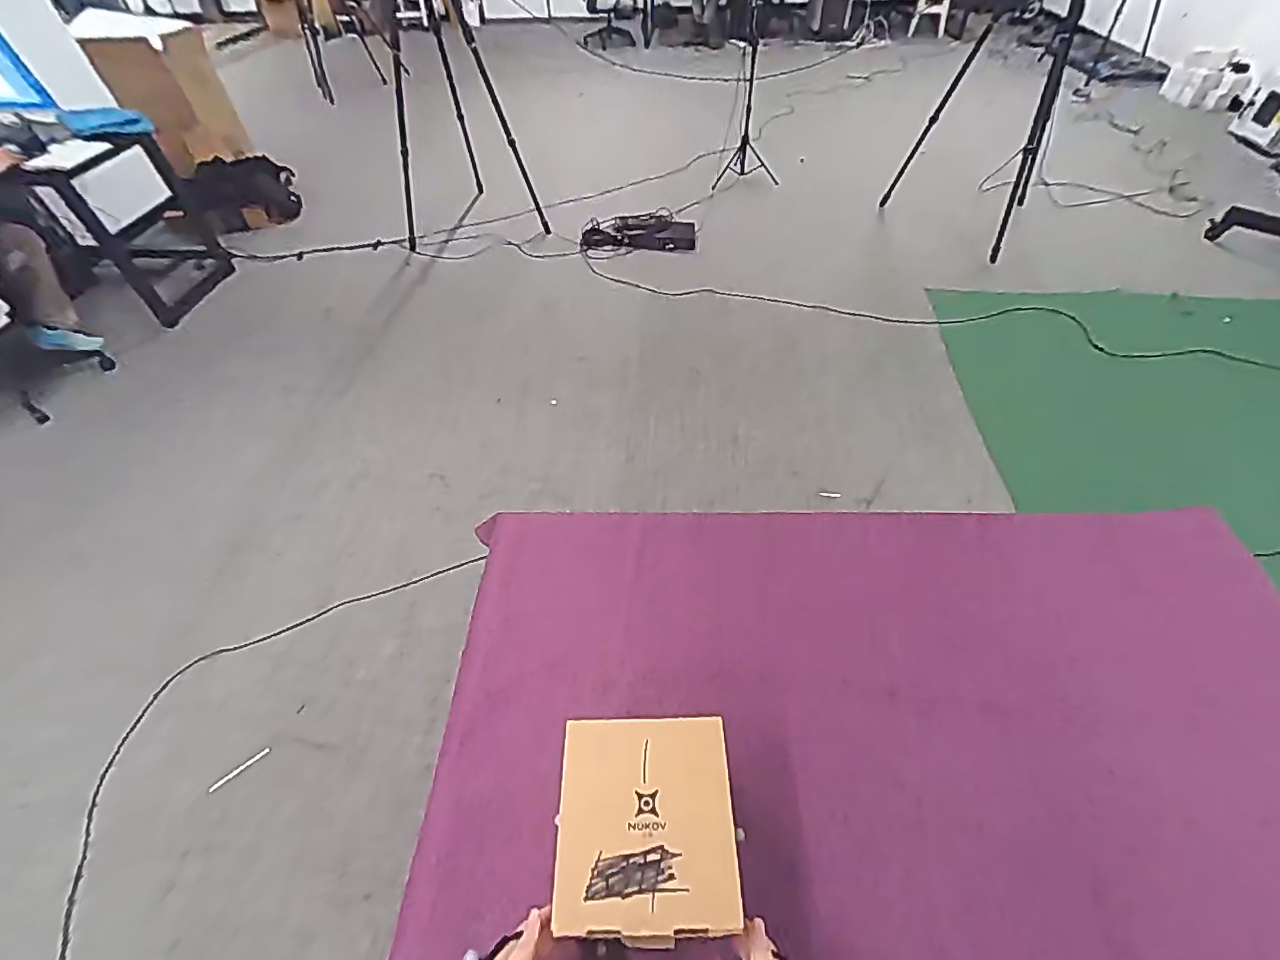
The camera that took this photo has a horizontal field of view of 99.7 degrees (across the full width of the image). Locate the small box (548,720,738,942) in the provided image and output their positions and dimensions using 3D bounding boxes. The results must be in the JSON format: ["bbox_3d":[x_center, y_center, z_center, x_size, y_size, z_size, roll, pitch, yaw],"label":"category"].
[{"bbox_3d":[0.006,0.370,0.568,0.168,0.176,0.179,-2,48,1],"label":"small box"}]
